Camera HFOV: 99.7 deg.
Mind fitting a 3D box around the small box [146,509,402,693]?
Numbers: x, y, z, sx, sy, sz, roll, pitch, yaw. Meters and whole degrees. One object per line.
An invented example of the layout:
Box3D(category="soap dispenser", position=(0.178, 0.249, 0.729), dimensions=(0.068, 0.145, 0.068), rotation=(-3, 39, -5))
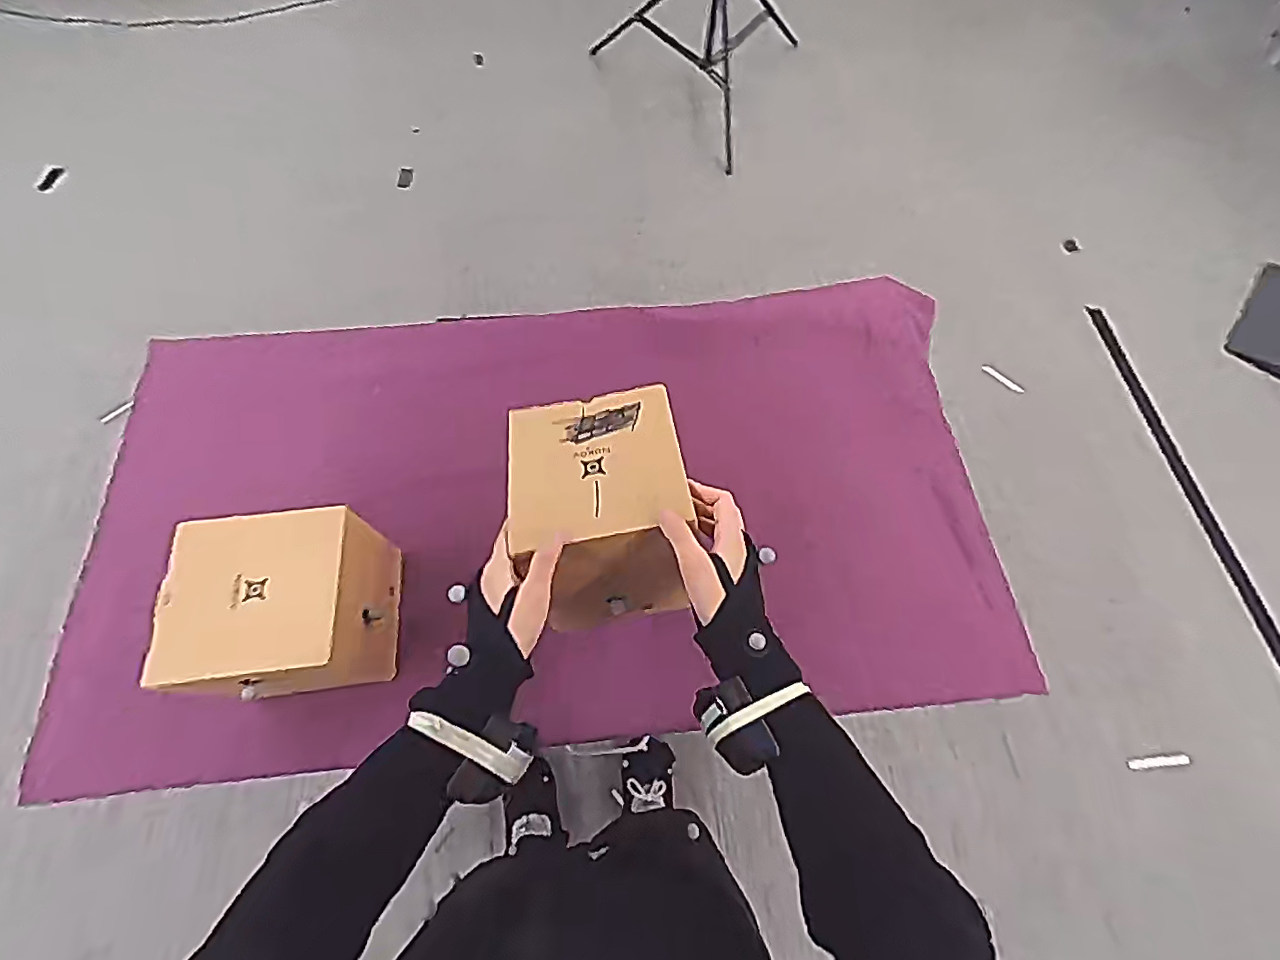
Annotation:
Box3D(category="small box", position=(-0.390, 0.145, 0.618), dimensions=(0.179, 0.176, 0.168), rotation=(-6, 66, -4))

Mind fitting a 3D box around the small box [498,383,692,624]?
Box3D(category="small box", position=(-0.042, 0.028, 0.570), dimensions=(0.168, 0.176, 0.179), rotation=(-10, 53, 0))
